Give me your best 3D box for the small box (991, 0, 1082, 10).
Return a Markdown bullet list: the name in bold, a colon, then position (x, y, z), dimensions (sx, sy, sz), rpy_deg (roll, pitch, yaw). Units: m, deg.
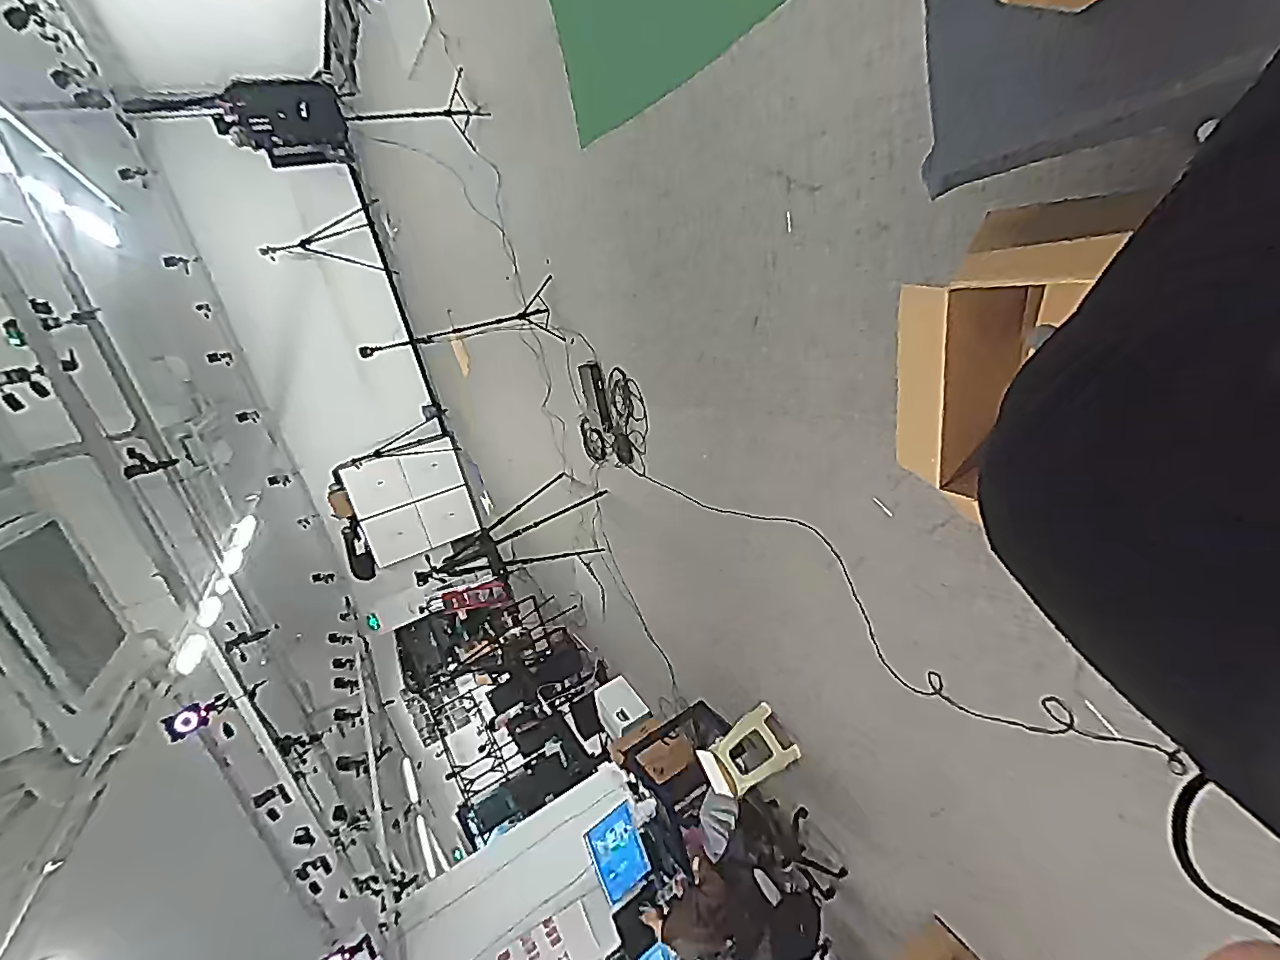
- **small box**: position (0.439, -0.584, 0.499), dimensions (0.168, 0.176, 0.179), rpy_deg (1, 109, 61)
